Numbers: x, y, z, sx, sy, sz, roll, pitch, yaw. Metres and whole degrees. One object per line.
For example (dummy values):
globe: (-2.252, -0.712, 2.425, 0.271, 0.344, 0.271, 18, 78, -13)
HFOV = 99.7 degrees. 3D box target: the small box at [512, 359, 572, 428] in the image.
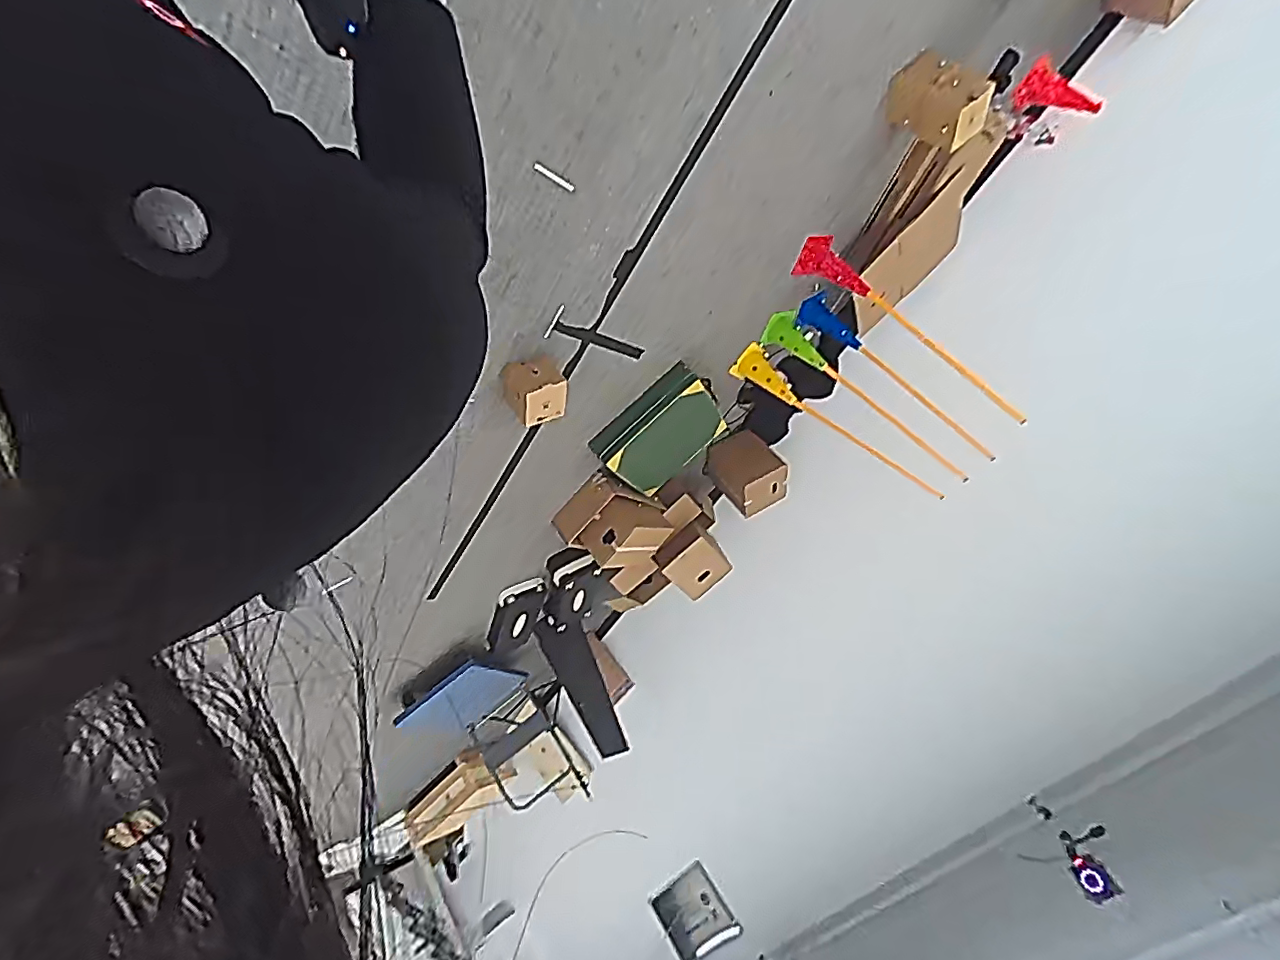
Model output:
small box: (-0.369, -0.332, 2.021, 0.168, 0.176, 0.179, -25, 150, -26)
